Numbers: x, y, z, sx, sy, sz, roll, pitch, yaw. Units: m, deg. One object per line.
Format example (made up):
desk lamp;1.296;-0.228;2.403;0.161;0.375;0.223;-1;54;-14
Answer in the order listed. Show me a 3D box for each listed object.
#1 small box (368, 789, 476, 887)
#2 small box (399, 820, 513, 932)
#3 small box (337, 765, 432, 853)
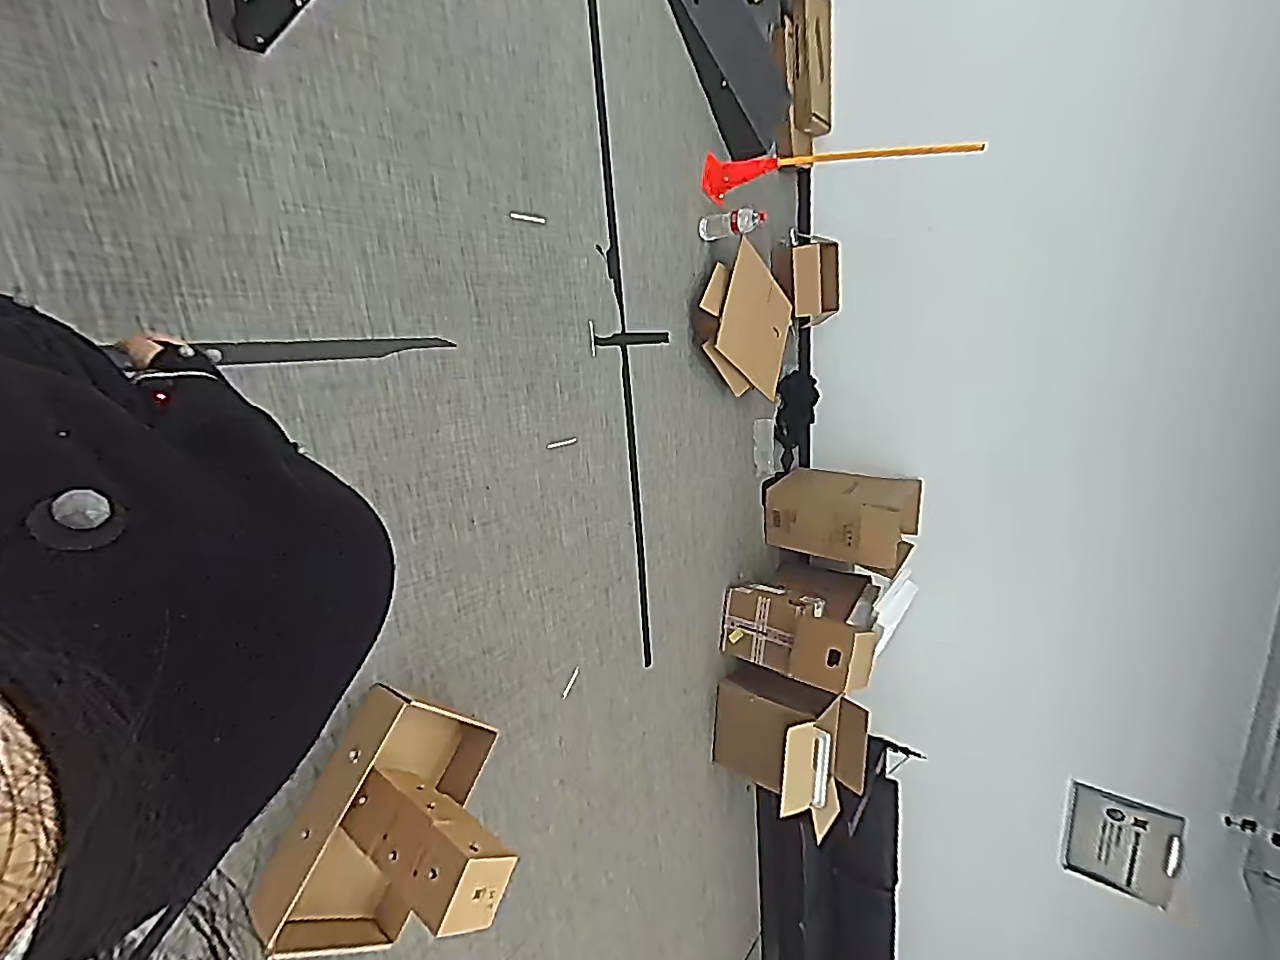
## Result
small box;-0.589;0.957;1.457;0.179;0.176;0.168;44;63;-48
small box;-0.462;0.979;1.354;0.179;0.176;0.168;43;65;-47
small box;-0.720;0.944;1.552;0.179;0.176;0.168;48;59;-44
